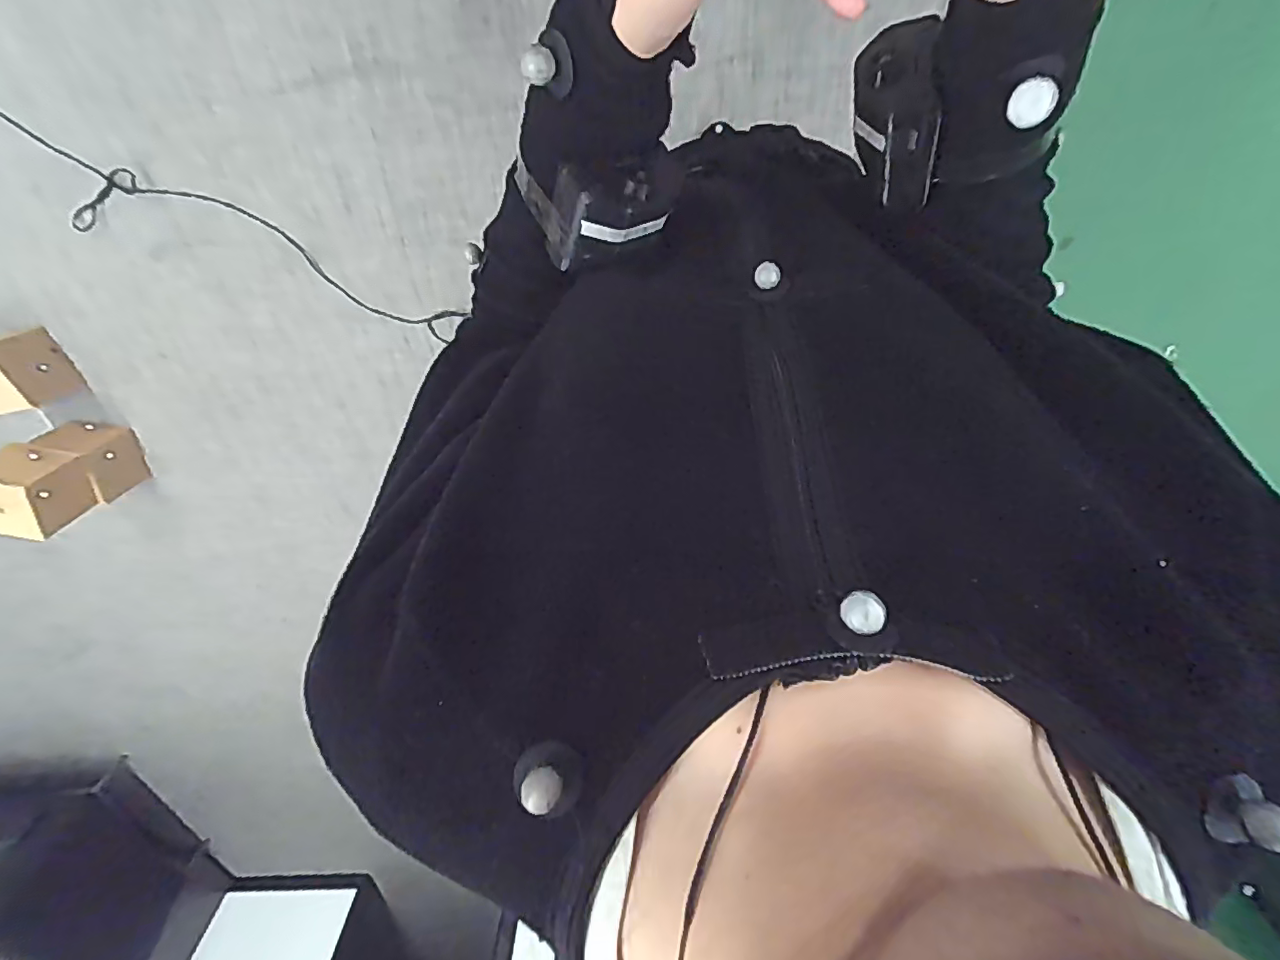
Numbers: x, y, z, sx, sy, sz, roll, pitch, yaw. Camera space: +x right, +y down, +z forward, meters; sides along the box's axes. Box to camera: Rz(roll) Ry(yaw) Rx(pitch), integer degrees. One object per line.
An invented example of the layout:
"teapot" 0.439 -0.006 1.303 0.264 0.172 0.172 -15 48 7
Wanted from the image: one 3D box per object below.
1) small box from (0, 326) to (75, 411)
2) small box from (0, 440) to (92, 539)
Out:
"small box" -1.643 -0.288 1.400 0.179 0.176 0.168 -8 122 6
"small box" -1.602 0.023 1.411 0.168 0.176 0.179 12 121 -7
